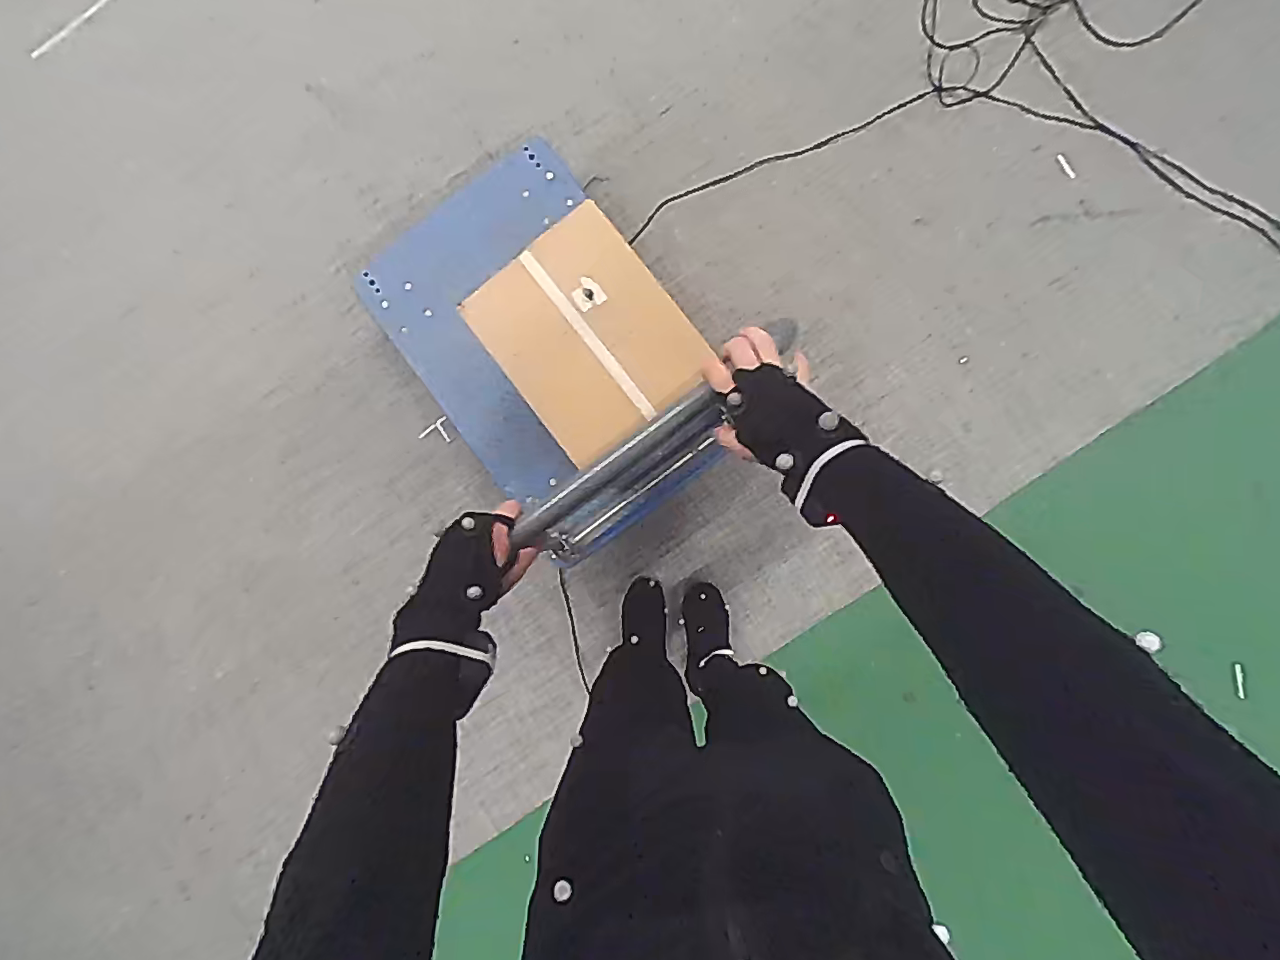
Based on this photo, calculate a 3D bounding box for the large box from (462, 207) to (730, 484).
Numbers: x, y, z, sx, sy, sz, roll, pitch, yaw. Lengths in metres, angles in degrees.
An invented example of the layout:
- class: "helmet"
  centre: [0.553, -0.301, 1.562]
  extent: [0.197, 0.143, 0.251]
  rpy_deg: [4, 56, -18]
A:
- class: "large box"
  centre: [-0.069, -0.237, 1.101]
  extent: [0.320, 0.320, 0.408]
  rpy_deg: [-38, 86, 1]
